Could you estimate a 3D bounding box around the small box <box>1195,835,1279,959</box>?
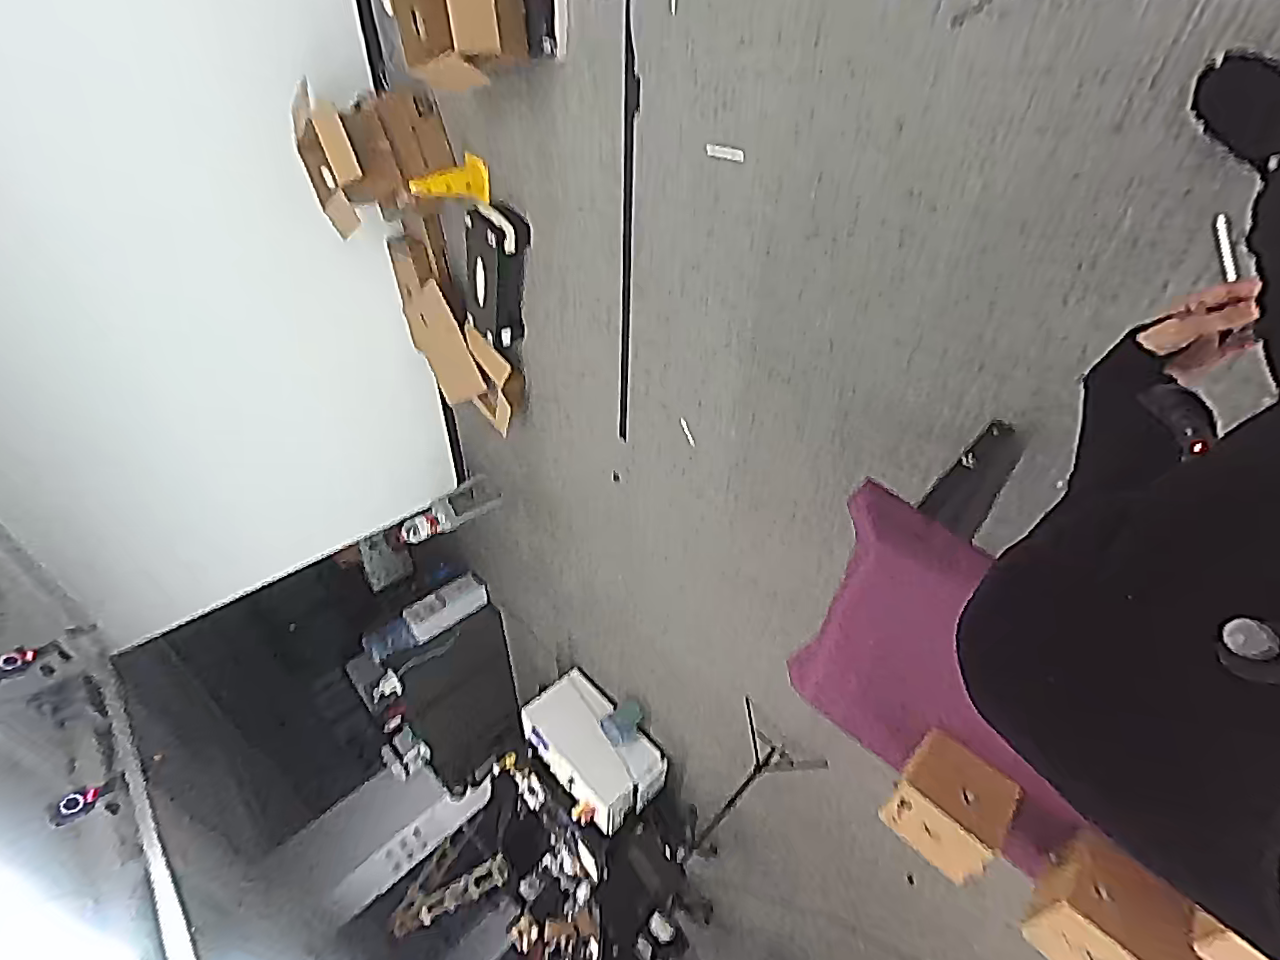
[{"bbox_3d":[0.922,0.625,0.732,0.179,0.176,0.168,34,138,32],"label":"small box"}]
